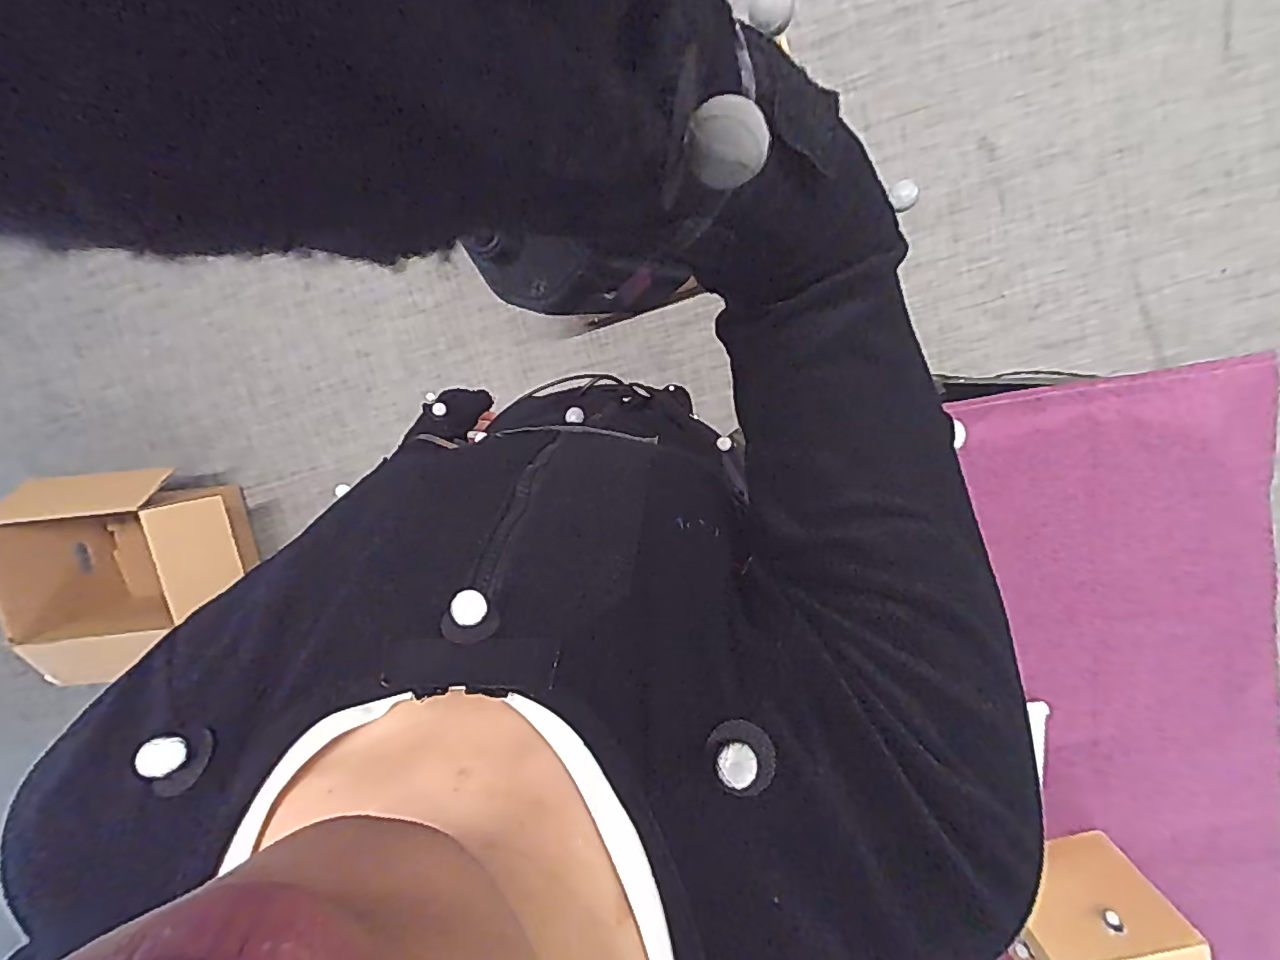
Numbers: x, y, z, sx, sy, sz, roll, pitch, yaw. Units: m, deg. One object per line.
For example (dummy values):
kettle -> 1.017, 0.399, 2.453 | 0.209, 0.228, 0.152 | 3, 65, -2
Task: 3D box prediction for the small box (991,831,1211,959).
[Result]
small box -> 0.613, 0.625, 0.735 | 0.179, 0.176, 0.168 | -17, 98, 5
